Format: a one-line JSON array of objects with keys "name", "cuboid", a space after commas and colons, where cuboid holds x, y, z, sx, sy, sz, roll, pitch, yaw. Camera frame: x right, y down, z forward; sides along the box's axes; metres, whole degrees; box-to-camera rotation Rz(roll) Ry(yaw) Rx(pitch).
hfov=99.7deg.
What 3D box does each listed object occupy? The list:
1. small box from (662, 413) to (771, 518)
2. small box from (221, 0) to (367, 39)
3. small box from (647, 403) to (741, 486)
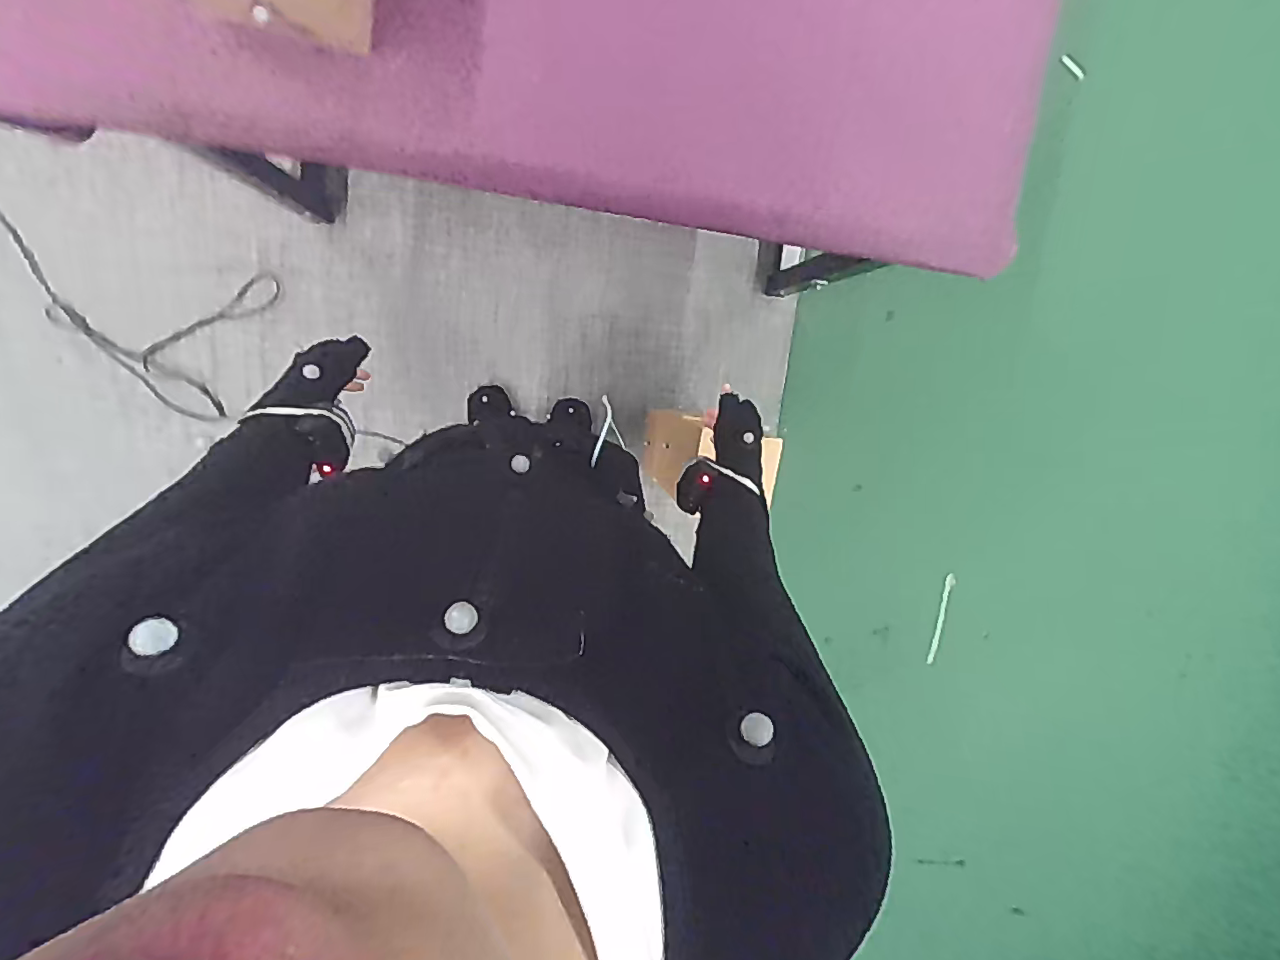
[{"name": "small box", "cuboid": [0.148, -0.035, 1.123, 0.168, 0.176, 0.179, 7, 100, -12]}, {"name": "small box", "cuboid": [-0.353, -0.562, 0.490, 0.168, 0.176, 0.179, 8, 102, -12]}, {"name": "small box", "cuboid": [0.119, -0.078, 1.276, 0.168, 0.176, 0.179, 9, 100, -12]}]
